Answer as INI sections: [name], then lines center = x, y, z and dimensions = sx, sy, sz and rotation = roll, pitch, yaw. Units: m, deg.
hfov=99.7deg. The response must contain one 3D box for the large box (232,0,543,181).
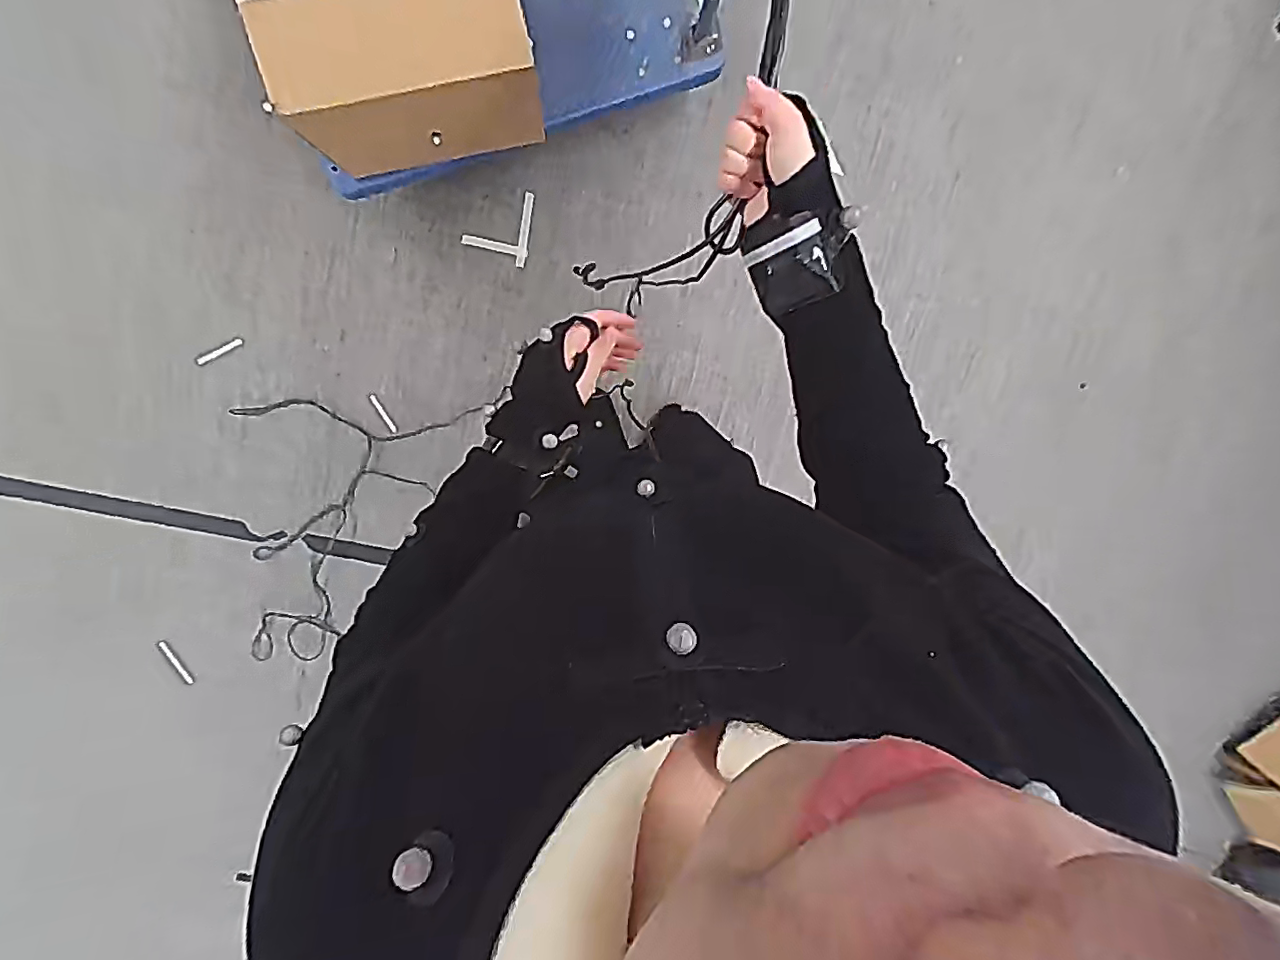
[large box]
center = -0.411, -0.764, 0.936
dimensions = 0.408, 0.320, 0.320
rotation = -14, 104, -3
